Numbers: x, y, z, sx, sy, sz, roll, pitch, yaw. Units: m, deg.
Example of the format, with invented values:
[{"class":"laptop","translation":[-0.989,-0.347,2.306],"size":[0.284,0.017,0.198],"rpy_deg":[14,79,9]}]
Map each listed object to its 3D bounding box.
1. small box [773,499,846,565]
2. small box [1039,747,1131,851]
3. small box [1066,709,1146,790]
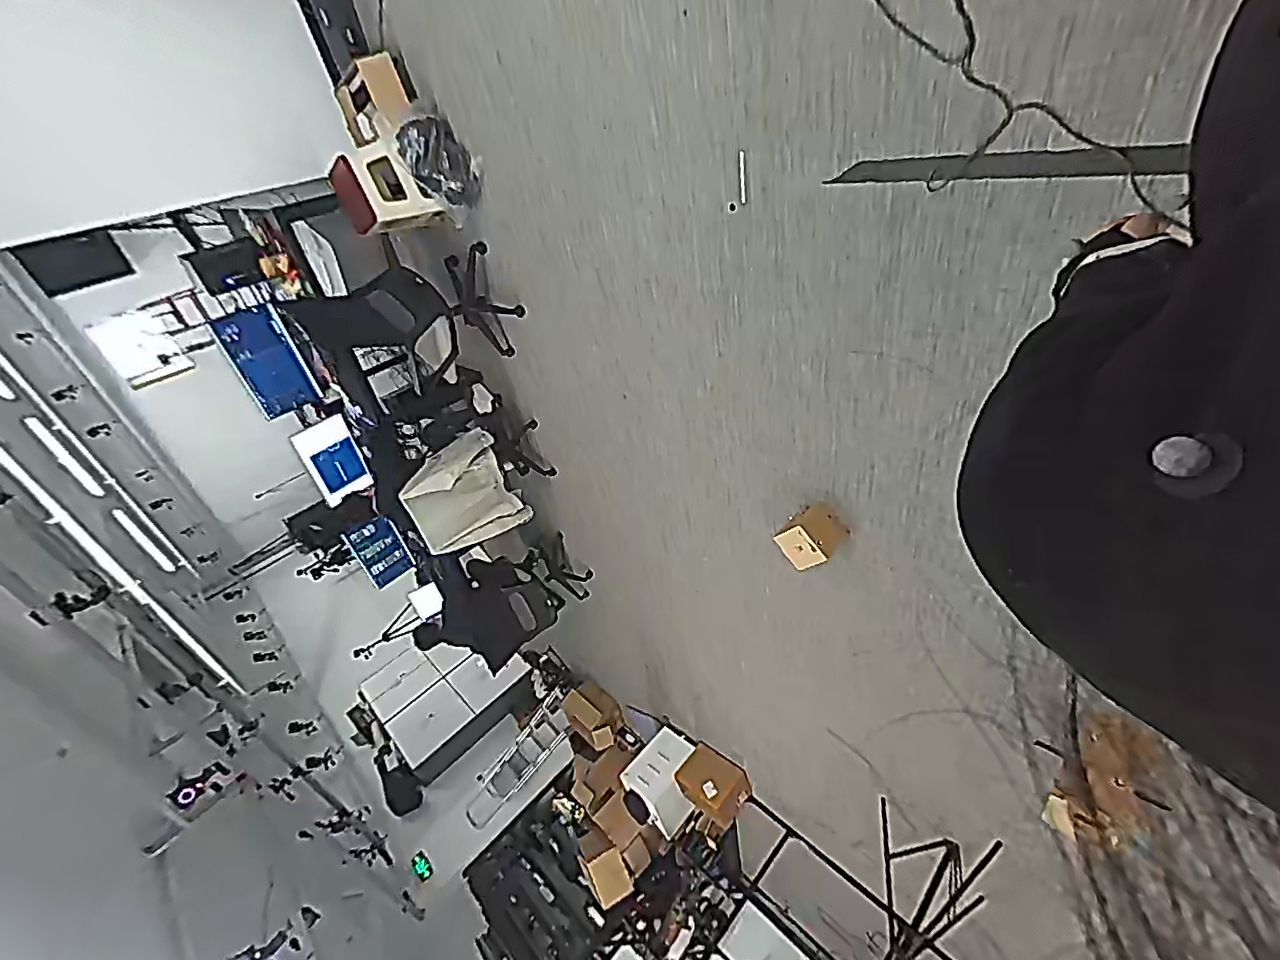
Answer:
[{"class":"small box","translation":[0.659,0.201,2.094],"size":[0.168,0.176,0.179],"rpy_deg":[52,150,4]},{"class":"small box","translation":[1.329,0.944,1.614],"size":[0.168,0.176,0.179],"rpy_deg":[22,138,43]},{"class":"small box","translation":[1.447,0.860,1.693],"size":[0.168,0.176,0.179],"rpy_deg":[21,138,44]}]
